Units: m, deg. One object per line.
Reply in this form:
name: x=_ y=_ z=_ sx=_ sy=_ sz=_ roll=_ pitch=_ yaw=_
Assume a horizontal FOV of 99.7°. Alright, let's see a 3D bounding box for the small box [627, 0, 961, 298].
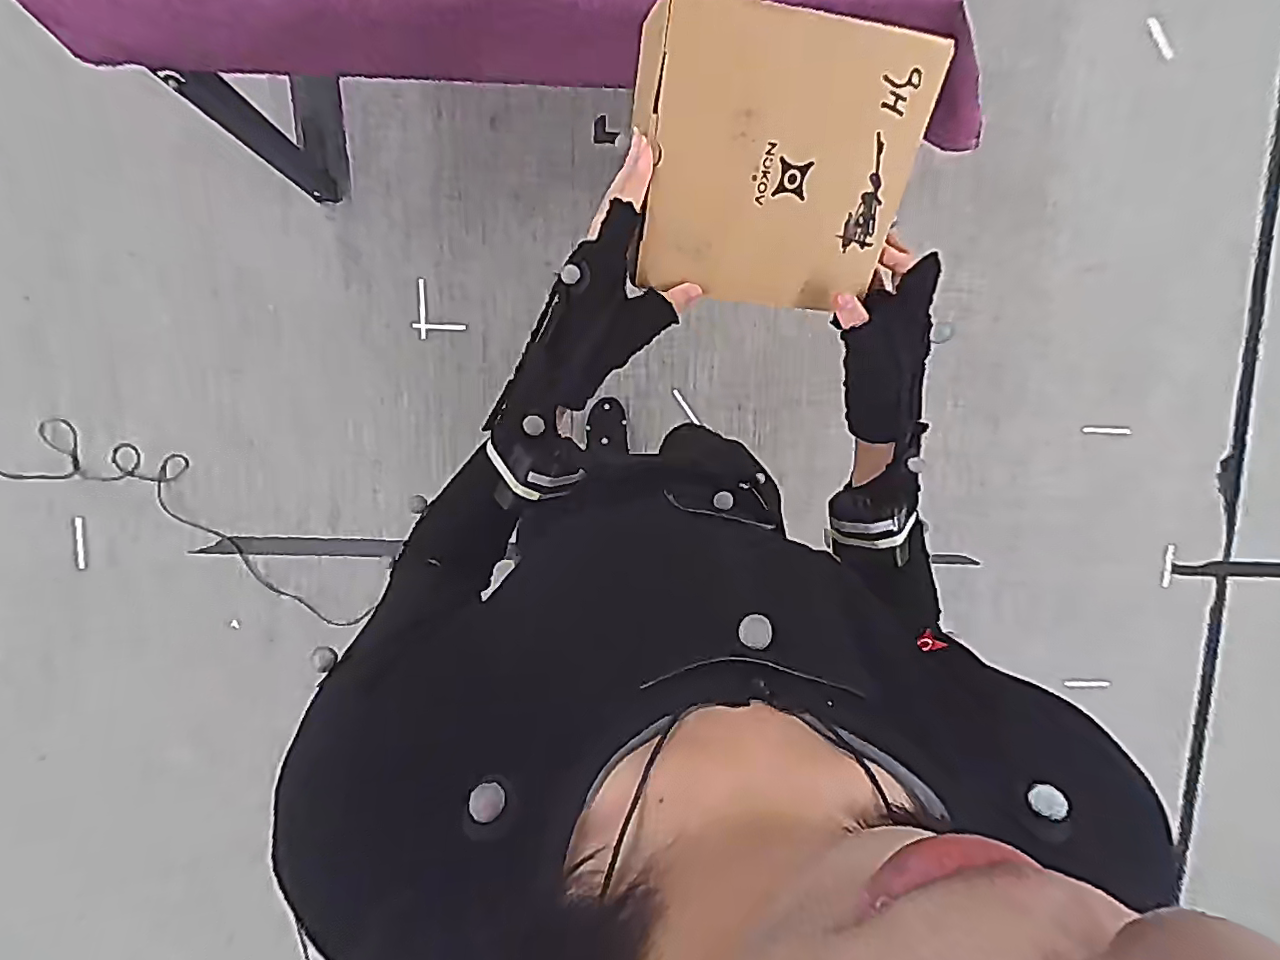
small box: x=0.086 y=-0.252 z=0.412 sx=0.179 sy=0.176 sz=0.168 roll=5 pitch=122 yaw=-8
